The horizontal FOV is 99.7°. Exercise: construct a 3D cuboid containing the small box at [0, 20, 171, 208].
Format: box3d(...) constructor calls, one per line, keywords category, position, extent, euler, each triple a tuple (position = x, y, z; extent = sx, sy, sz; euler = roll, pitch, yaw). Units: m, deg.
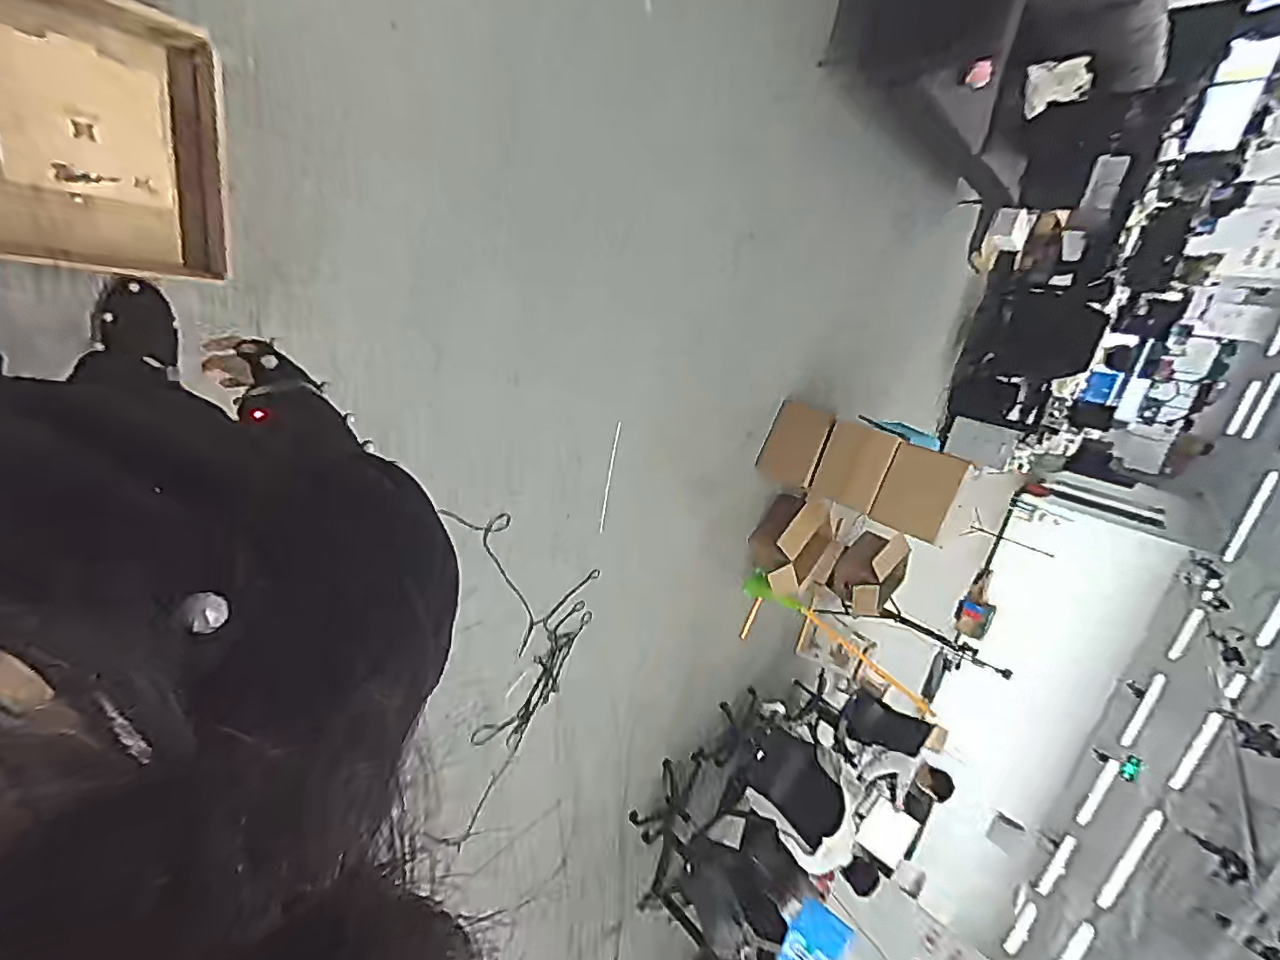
box3d(category="small box", position=(-0.785, -0.495, 0.758), extent=(0.168, 0.176, 0.179), euler=(-10, 117, -44))
